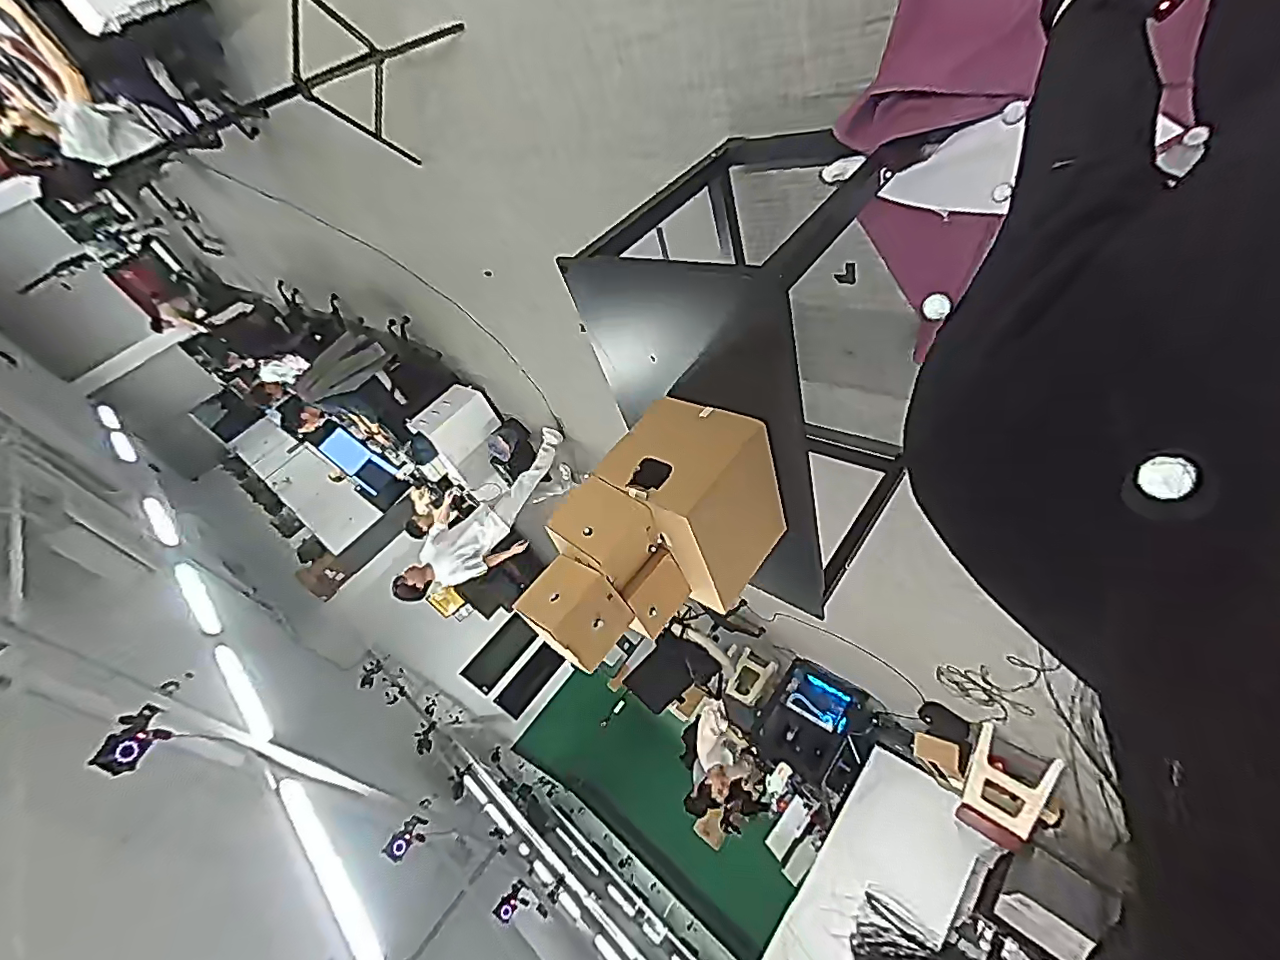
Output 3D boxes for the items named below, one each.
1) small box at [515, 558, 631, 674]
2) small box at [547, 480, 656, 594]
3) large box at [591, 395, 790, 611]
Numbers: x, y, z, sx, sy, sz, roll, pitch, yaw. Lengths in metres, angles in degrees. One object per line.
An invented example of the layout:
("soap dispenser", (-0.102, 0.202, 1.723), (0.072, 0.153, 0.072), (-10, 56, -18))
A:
("small box", (-0.143, 0.301, 1.234), (0.179, 0.176, 0.168), (11, 142, 49))
("small box", (-0.077, 0.127, 1.243), (0.179, 0.176, 0.168), (30, 154, 30))
("large box", (0.147, 0.053, 1.381), (0.320, 0.320, 0.408), (21, 148, 40))
